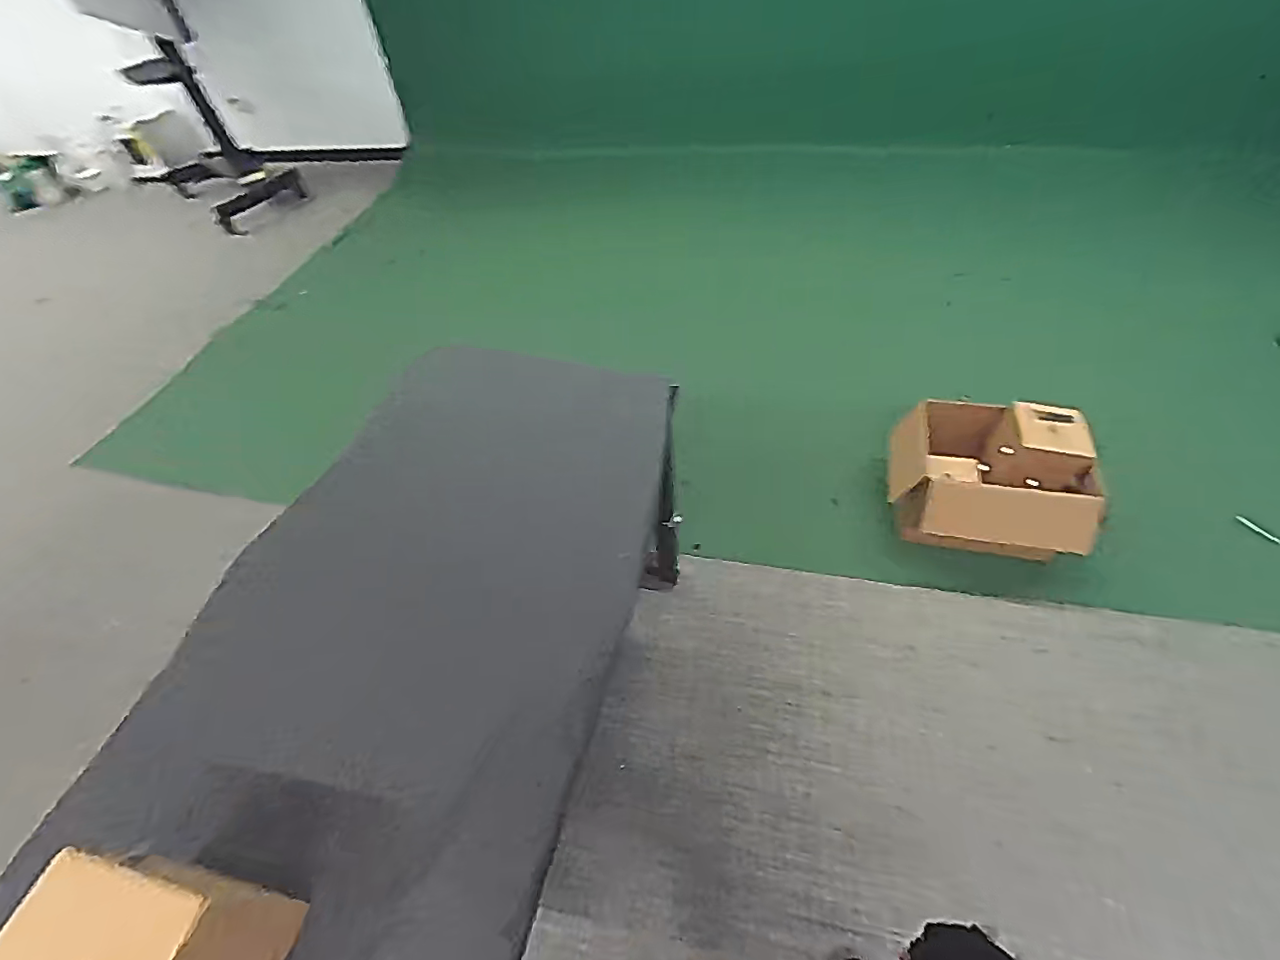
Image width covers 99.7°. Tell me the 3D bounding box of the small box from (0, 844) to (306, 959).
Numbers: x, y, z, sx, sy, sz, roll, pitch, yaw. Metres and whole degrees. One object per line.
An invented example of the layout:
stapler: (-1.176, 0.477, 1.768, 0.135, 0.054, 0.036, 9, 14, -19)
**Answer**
small box: (-0.474, 0.471, 0.511, 0.179, 0.176, 0.168, 7, 52, 12)
